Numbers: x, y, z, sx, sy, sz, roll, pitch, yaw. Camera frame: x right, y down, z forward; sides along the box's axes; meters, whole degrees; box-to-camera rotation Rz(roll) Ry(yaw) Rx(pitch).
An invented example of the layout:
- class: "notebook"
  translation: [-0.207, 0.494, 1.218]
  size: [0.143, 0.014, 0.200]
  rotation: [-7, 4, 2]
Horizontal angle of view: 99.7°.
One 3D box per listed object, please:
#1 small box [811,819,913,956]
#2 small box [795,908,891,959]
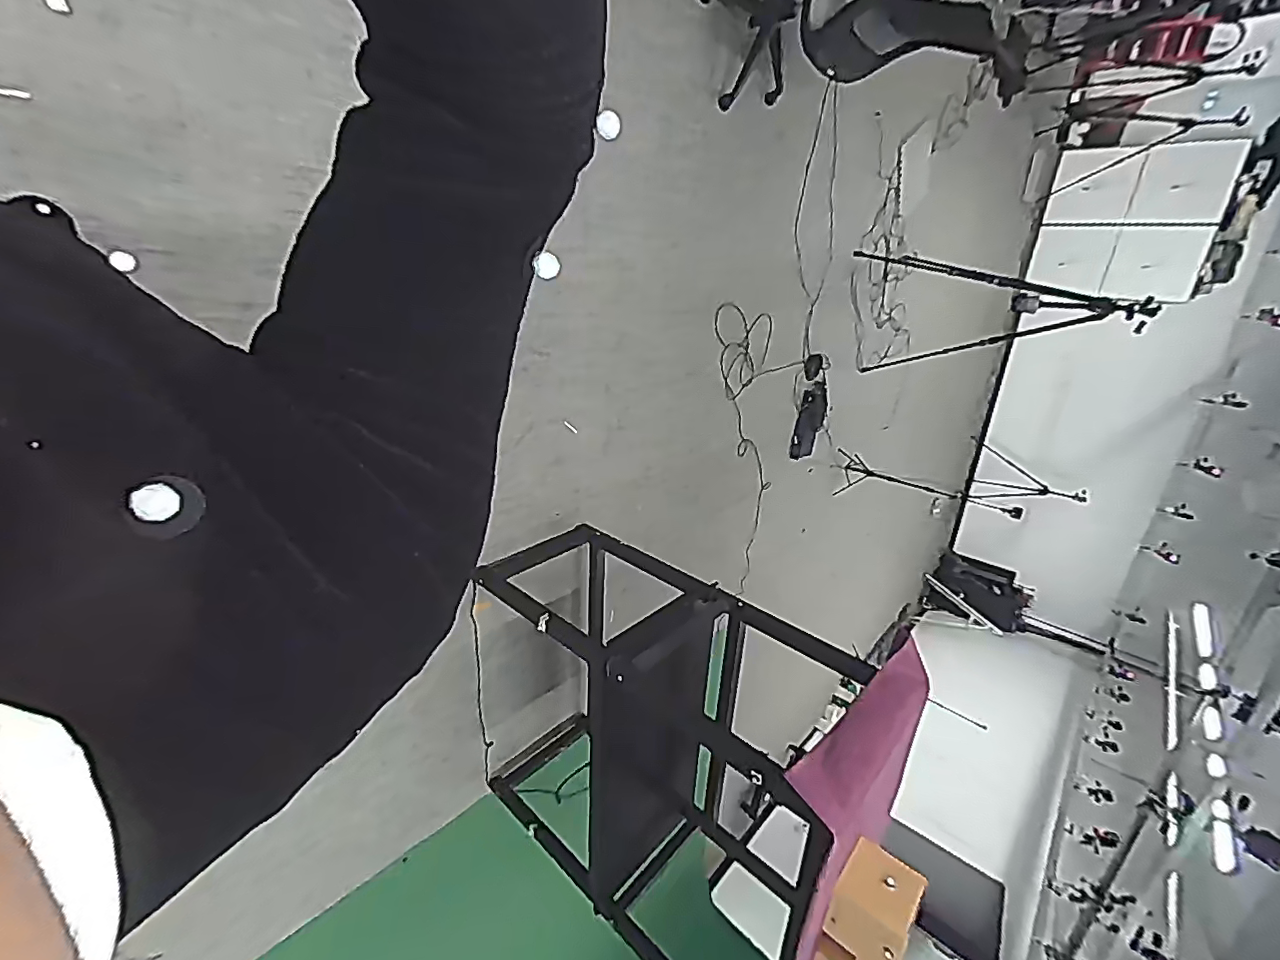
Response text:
- class: "small box"
  translation: [0.551, 1.001, 1.346]
  size: [0.179, 0.176, 0.168]
  rotation: [-22, 123, -45]
- class: "small box"
  translation: [0.539, 1.235, 1.443]
  size: [0.179, 0.176, 0.168]
  rotation: [-20, 121, -45]
